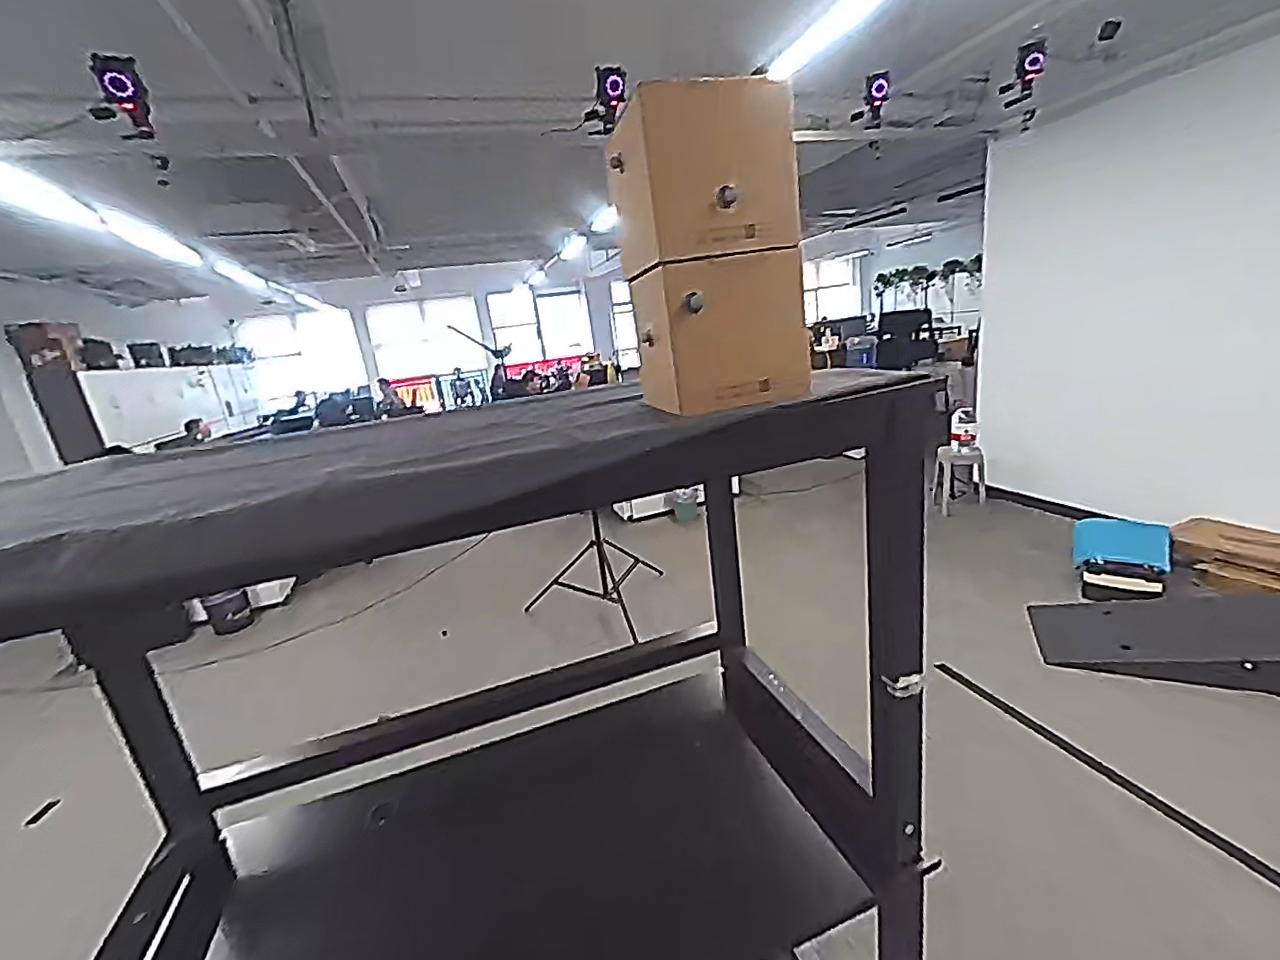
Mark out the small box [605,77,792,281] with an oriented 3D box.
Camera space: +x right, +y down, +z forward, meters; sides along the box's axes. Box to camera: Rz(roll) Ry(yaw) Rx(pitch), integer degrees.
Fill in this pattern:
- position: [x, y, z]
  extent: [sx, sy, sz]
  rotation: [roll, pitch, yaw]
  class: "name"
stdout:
- position: [0.064, -0.341, 0.643]
  extent: [0.168, 0.176, 0.179]
  rotation: [-13, 15, -12]
  class: "small box"
